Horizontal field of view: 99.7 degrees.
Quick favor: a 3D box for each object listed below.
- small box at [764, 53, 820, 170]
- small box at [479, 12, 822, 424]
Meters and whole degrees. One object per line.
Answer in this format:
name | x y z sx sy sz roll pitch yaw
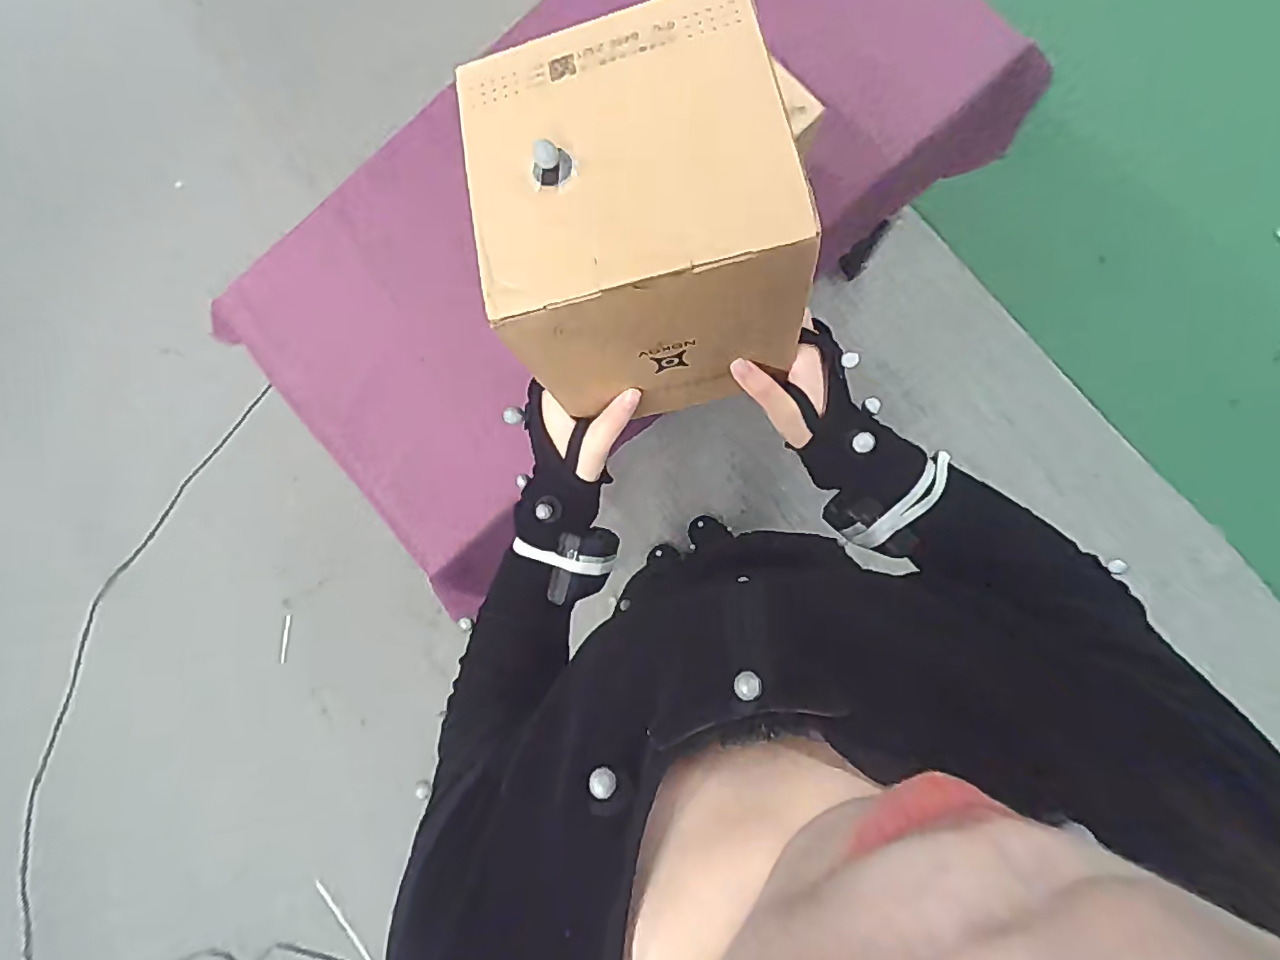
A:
small box | 0.114 -0.456 0.751 0.168 0.176 0.179 -42 82 3
small box | 0.007 -0.156 0.359 0.168 0.179 0.176 -11 77 7
